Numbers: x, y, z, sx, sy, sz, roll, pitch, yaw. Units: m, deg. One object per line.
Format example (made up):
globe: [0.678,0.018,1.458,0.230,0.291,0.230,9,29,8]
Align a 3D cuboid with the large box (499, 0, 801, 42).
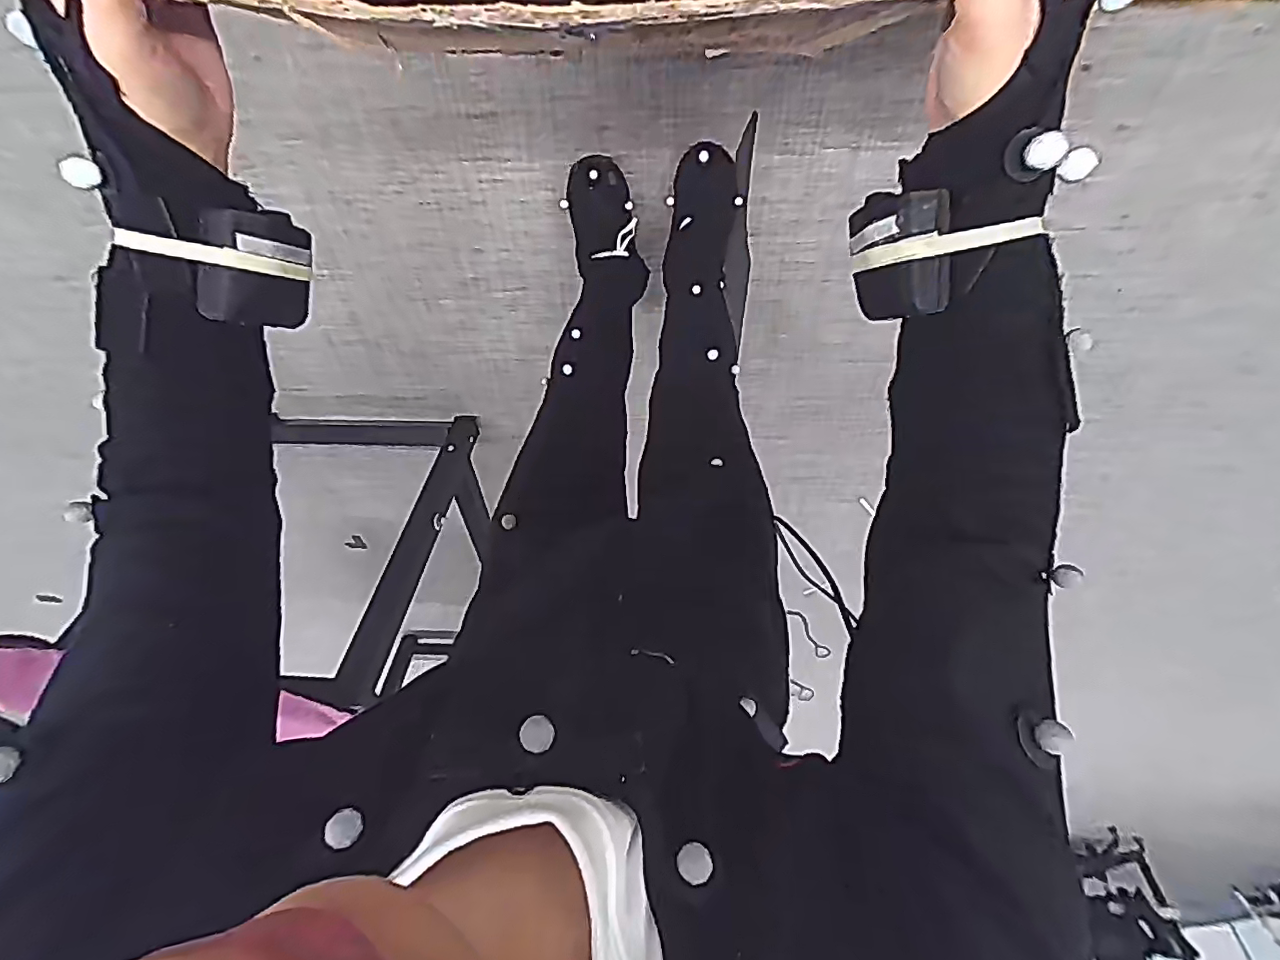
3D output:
large box: [0.004,-0.714,0.525,0.320,0.320,0.408,0,136,4]
